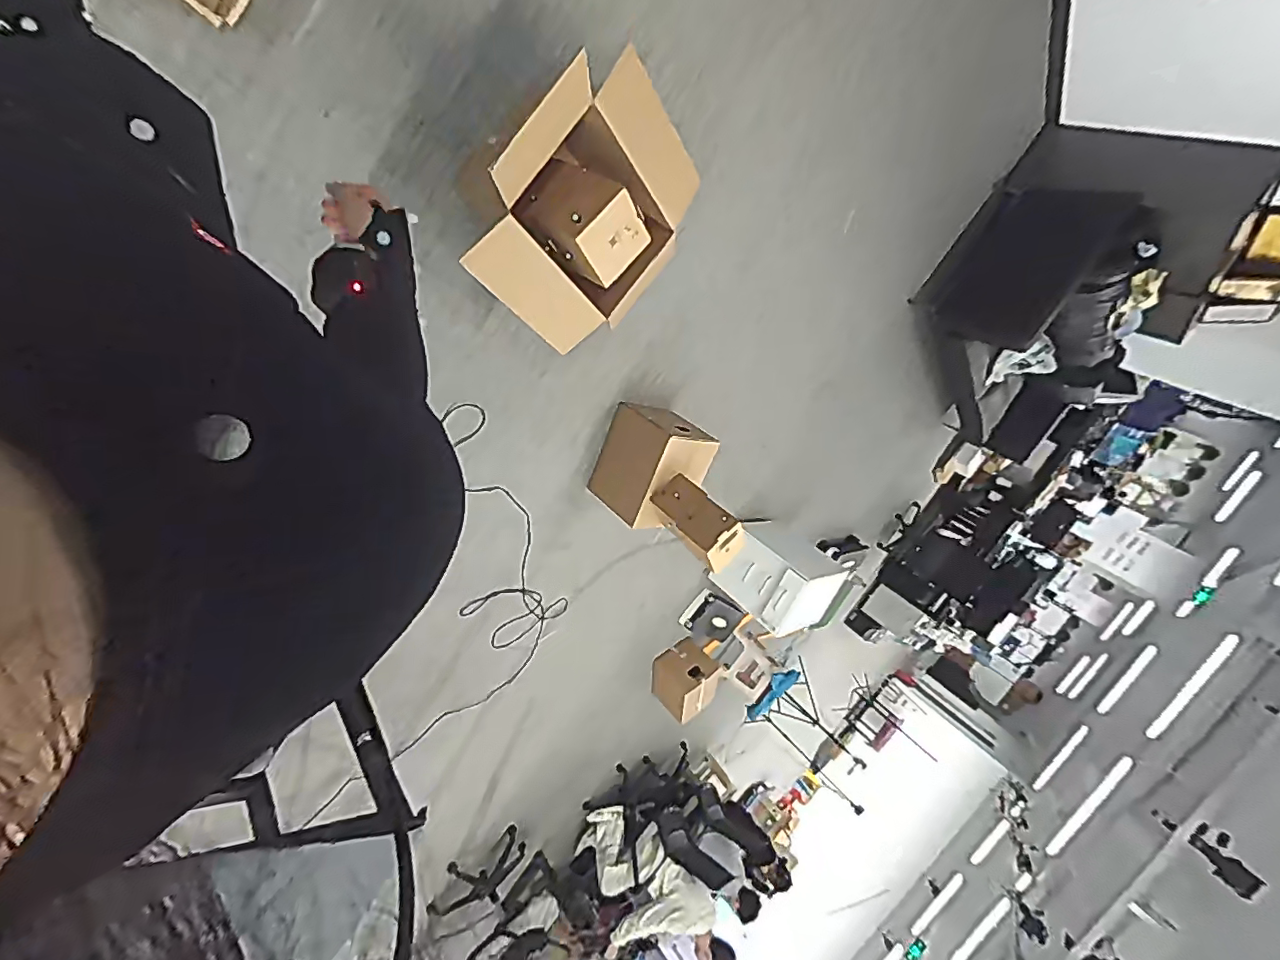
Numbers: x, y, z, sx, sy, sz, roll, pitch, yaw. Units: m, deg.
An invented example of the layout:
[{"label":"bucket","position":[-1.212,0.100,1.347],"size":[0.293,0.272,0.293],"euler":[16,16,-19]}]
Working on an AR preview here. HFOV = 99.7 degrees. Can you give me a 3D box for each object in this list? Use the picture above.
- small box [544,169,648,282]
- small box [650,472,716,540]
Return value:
[{"label":"small box","position":[-0.117,-0.640,1.360],"size":[0.179,0.176,0.168],"euler":[-49,147,-3]},{"label":"small box","position":[0.163,0.092,2.082],"size":[0.168,0.176,0.179],"euler":[-42,141,-12]}]
